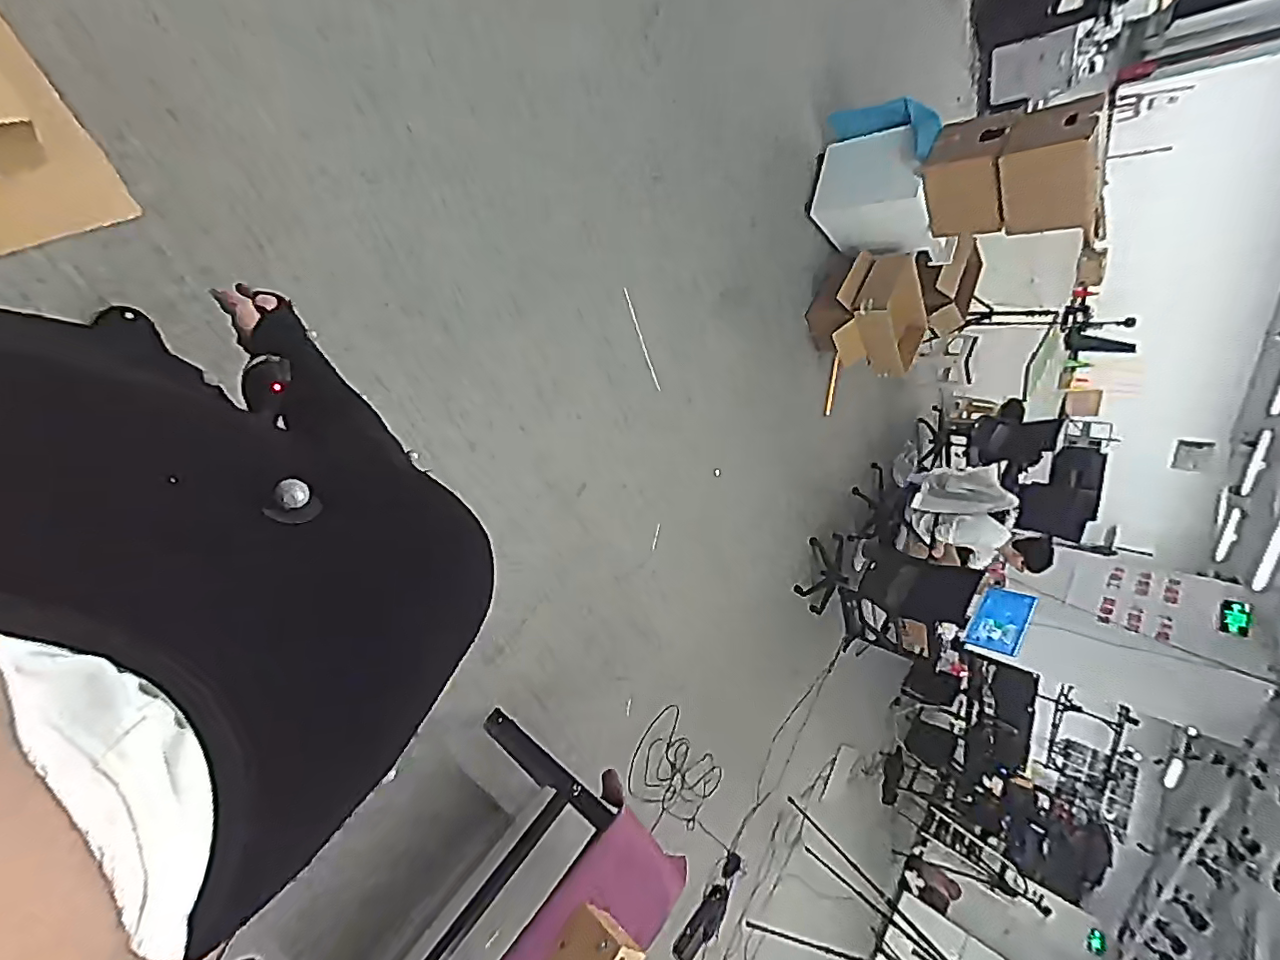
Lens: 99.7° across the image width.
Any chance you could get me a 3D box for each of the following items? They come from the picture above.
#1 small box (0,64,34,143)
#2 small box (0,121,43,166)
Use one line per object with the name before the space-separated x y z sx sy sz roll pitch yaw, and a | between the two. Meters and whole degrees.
small box | -1.060 -0.601 0.795 0.179 0.176 0.168 -36 126 -34
small box | -1.175 -0.632 0.909 0.179 0.176 0.168 -39 126 -32
